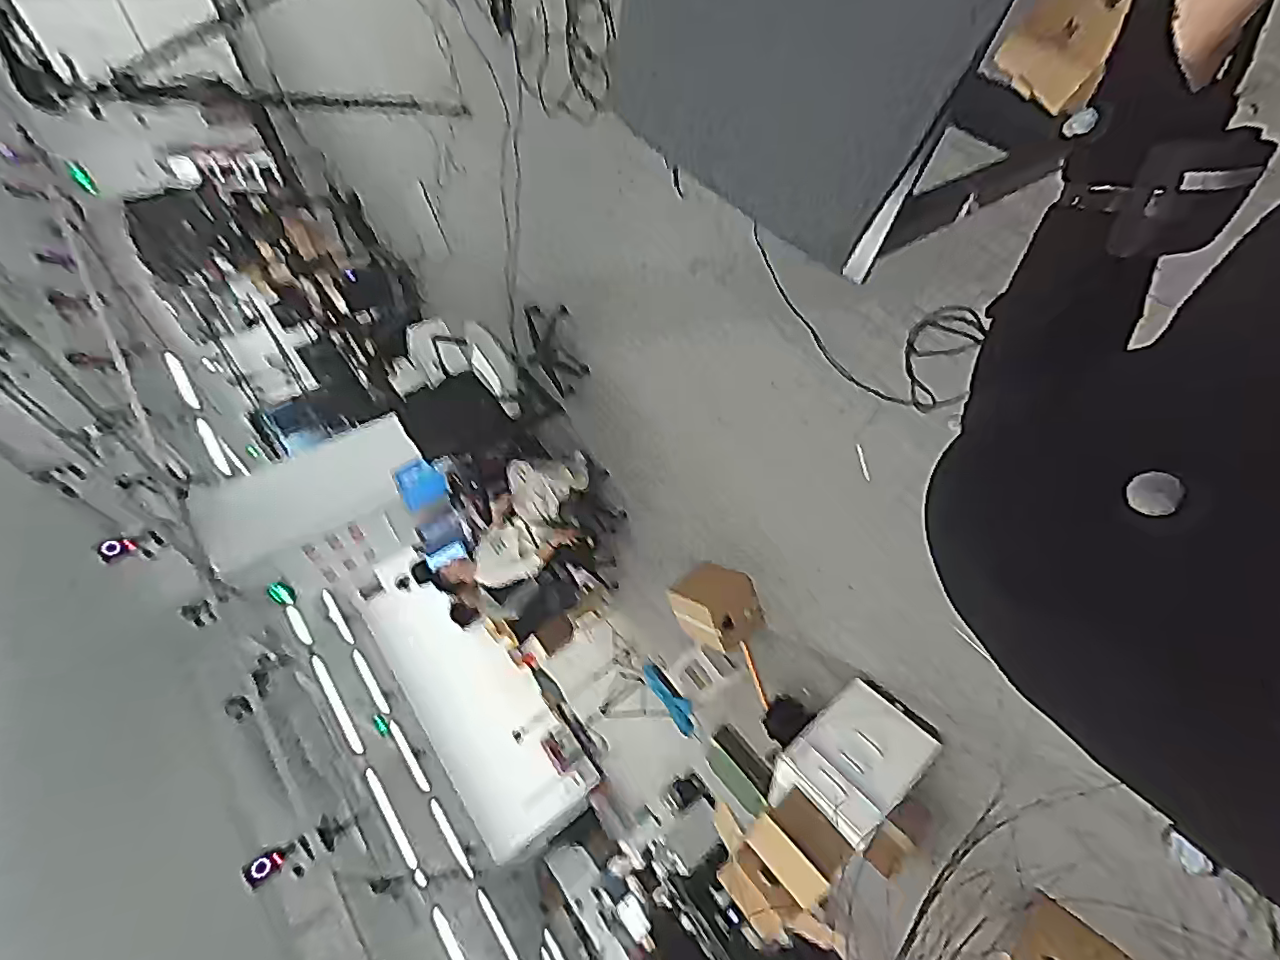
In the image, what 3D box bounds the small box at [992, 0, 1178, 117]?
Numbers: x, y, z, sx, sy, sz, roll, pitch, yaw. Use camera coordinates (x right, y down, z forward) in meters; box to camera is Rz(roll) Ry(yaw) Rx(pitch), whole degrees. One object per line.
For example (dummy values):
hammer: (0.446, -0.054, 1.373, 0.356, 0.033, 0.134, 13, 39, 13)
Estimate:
small box: (0.803, -0.809, 0.980, 0.168, 0.176, 0.179, 53, 154, 12)
